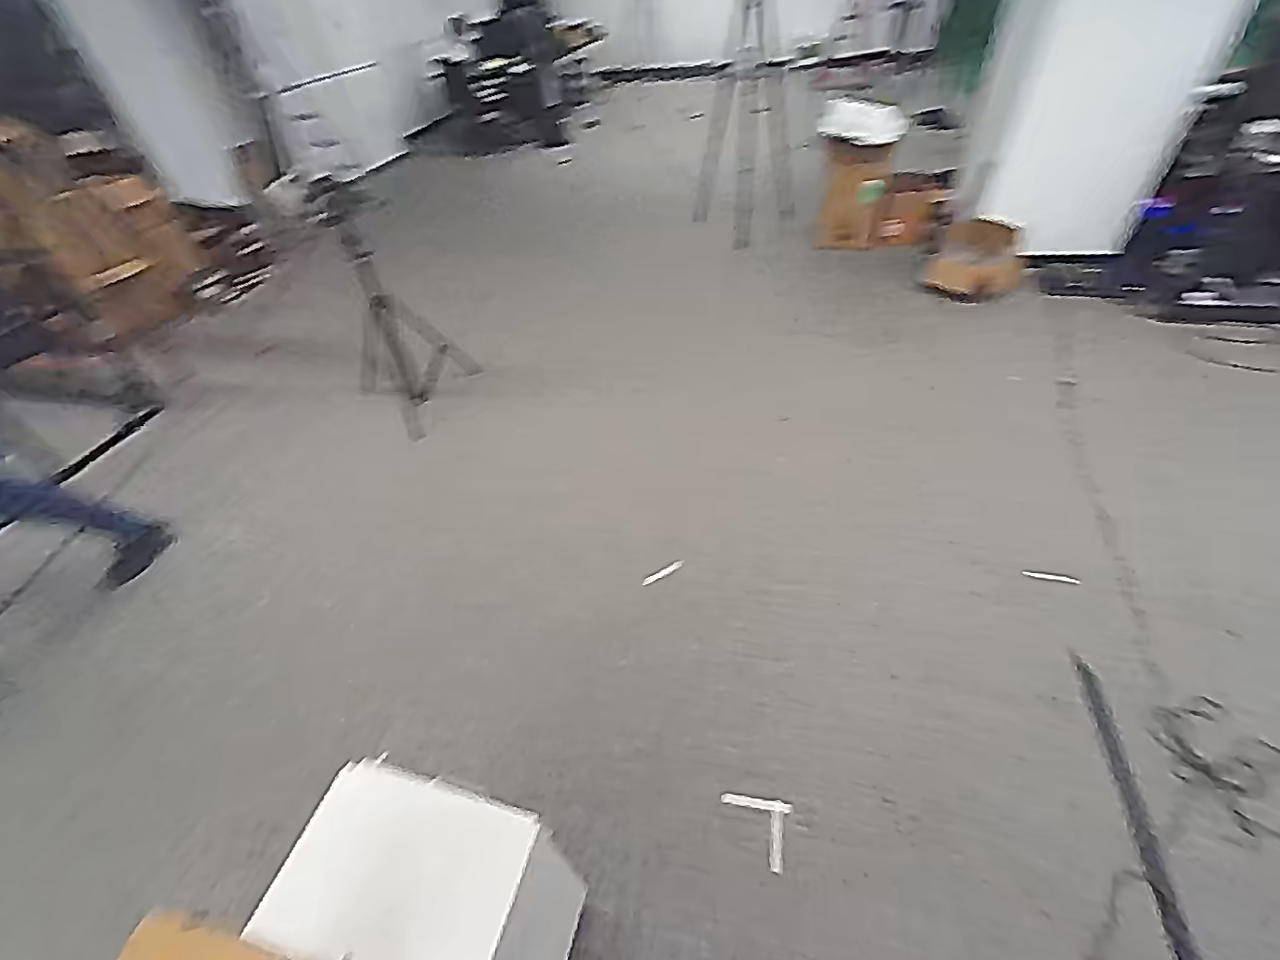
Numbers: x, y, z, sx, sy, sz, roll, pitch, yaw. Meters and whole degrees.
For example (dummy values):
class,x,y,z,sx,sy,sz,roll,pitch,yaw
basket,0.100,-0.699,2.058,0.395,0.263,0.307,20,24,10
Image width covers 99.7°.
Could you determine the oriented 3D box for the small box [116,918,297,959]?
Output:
class,x,y,z,sx,sy,sz,roll,pitch,yaw
small box,-0.470,0.601,0.572,0.179,0.176,0.168,7,45,14
